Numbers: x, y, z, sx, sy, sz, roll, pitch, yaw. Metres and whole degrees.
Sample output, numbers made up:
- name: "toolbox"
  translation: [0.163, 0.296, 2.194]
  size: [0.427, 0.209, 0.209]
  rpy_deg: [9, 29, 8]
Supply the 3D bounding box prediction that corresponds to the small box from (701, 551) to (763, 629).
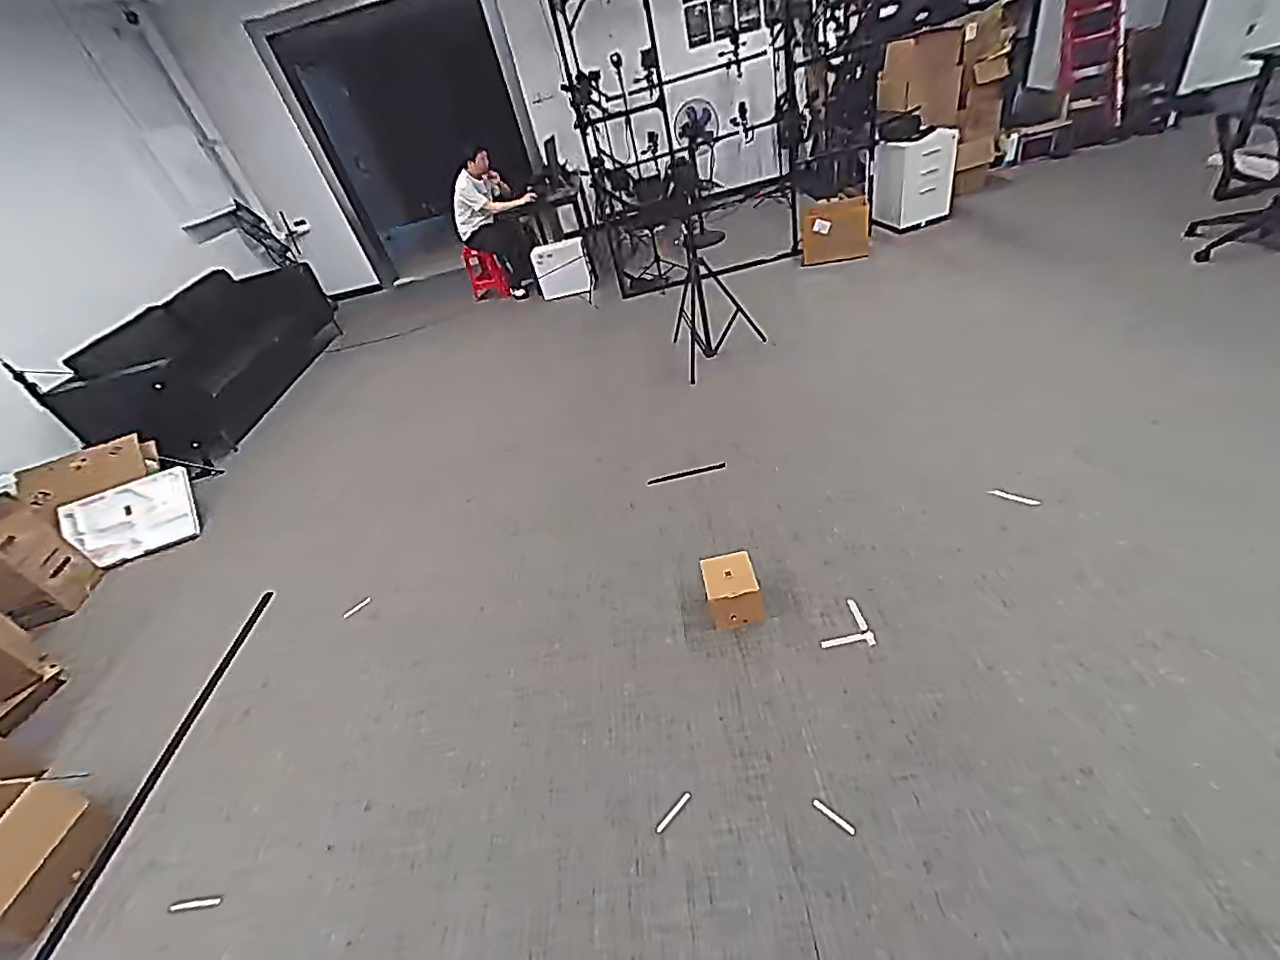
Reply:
- name: "small box"
  translation: [0.307, 0.371, 1.815]
  size: [0.168, 0.176, 0.179]
  rpy_deg: [-13, 38, 4]
